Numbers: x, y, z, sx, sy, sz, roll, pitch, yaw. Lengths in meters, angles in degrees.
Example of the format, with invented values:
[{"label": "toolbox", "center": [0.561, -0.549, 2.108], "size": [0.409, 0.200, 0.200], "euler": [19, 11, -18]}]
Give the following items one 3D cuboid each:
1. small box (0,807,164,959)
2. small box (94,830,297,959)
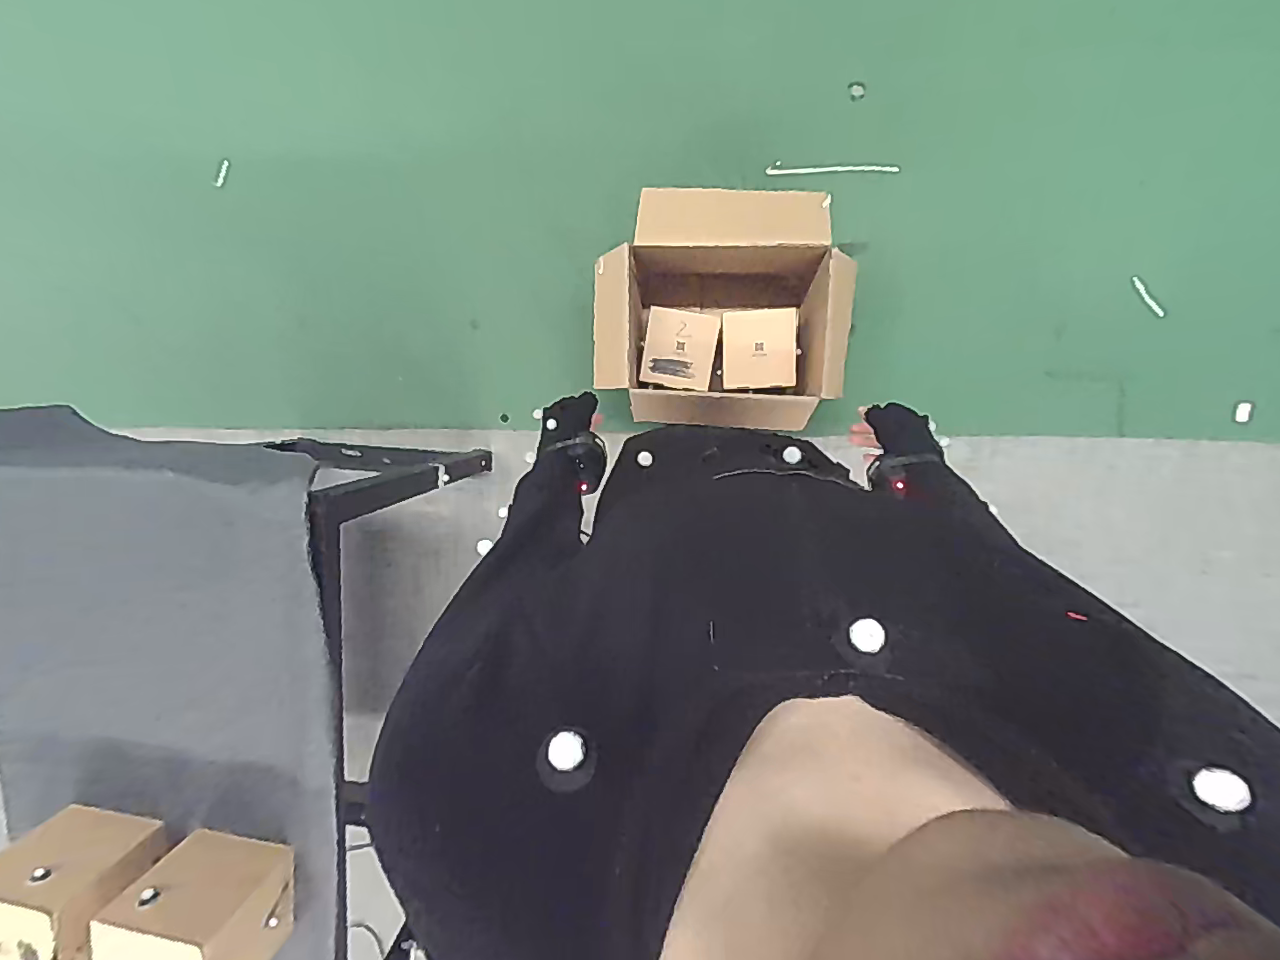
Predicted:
[{"label": "small box", "center": [-0.895, 0.650, 0.846], "size": [0.179, 0.176, 0.168], "euler": [7, 99, 4]}, {"label": "small box", "center": [-0.668, 0.679, 0.828], "size": [0.179, 0.176, 0.168], "euler": [7, 100, 5]}]
